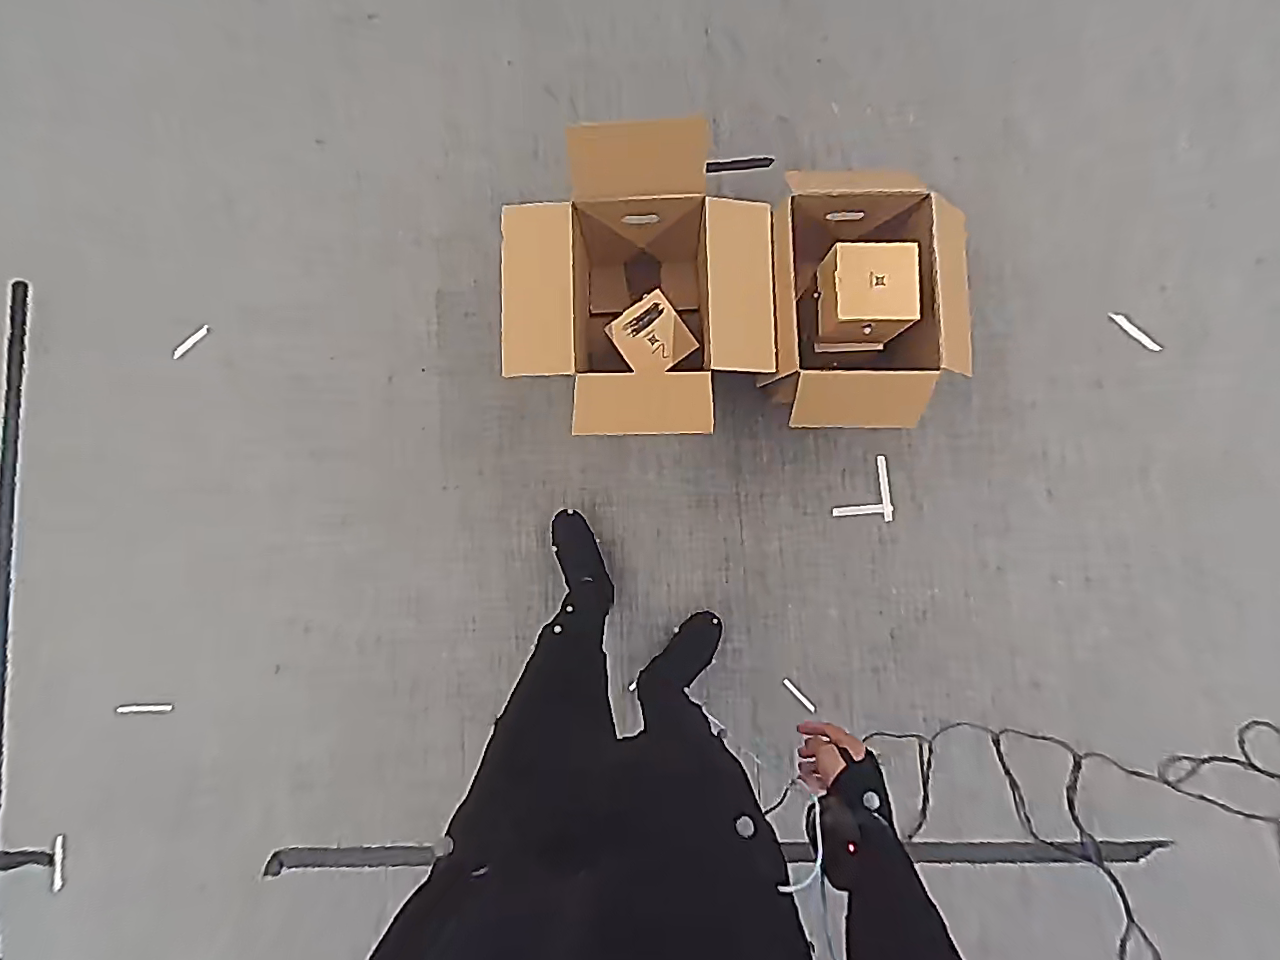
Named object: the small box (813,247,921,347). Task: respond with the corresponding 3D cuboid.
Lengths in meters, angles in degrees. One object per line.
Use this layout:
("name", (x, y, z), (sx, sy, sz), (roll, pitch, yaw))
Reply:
("small box", (0.500, -0.402, 1.207), (0.179, 0.176, 0.168), (0, 87, 2))
